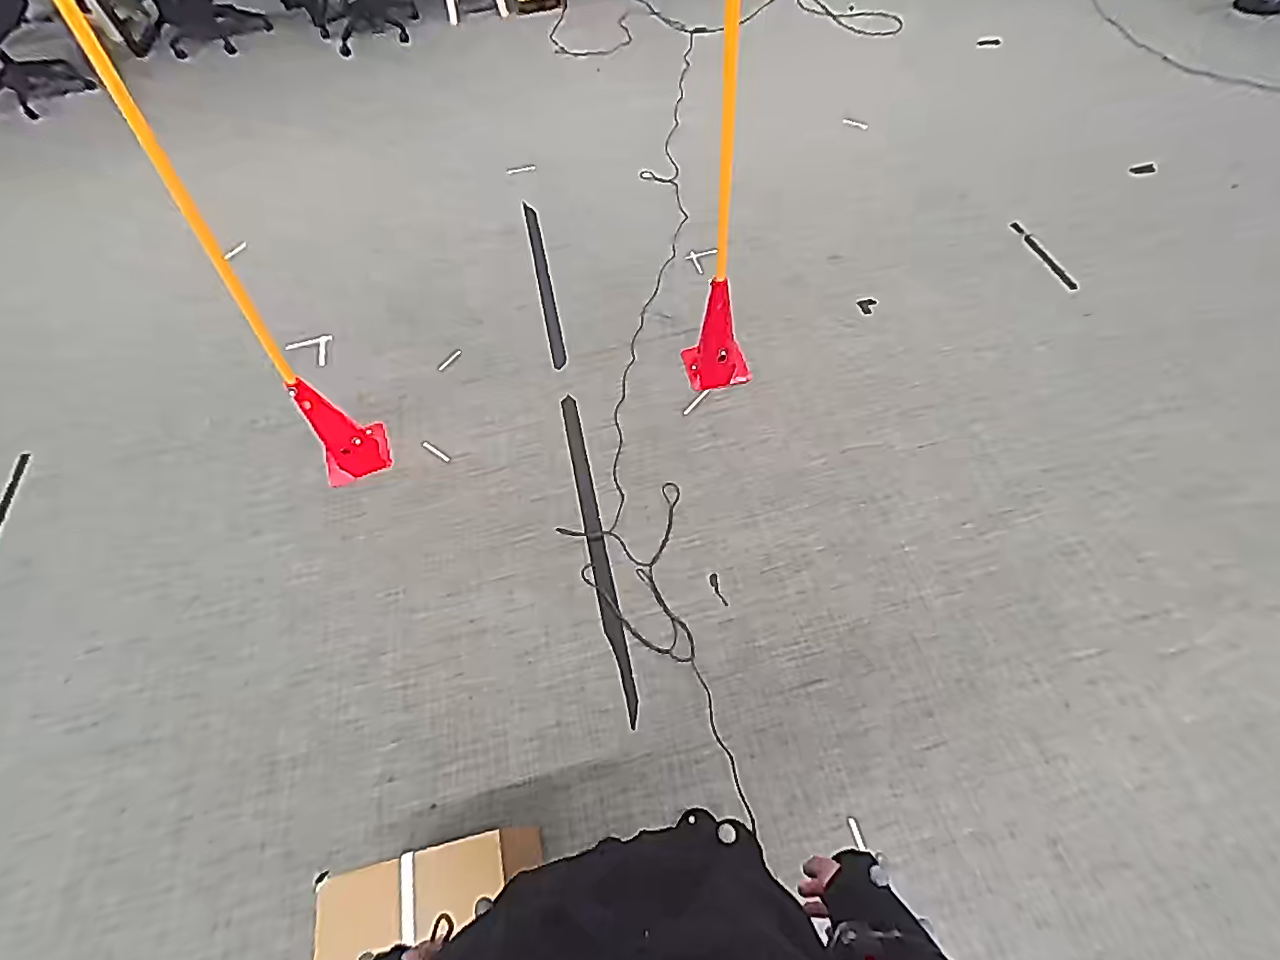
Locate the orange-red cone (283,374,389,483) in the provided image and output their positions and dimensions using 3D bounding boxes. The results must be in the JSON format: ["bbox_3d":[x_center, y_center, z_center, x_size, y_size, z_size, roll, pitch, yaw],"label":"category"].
[{"bbox_3d":[-0.925,-0.177,1.592,0.199,0.360,0.198,-22,59,-7],"label":"orange-red cone"}]
